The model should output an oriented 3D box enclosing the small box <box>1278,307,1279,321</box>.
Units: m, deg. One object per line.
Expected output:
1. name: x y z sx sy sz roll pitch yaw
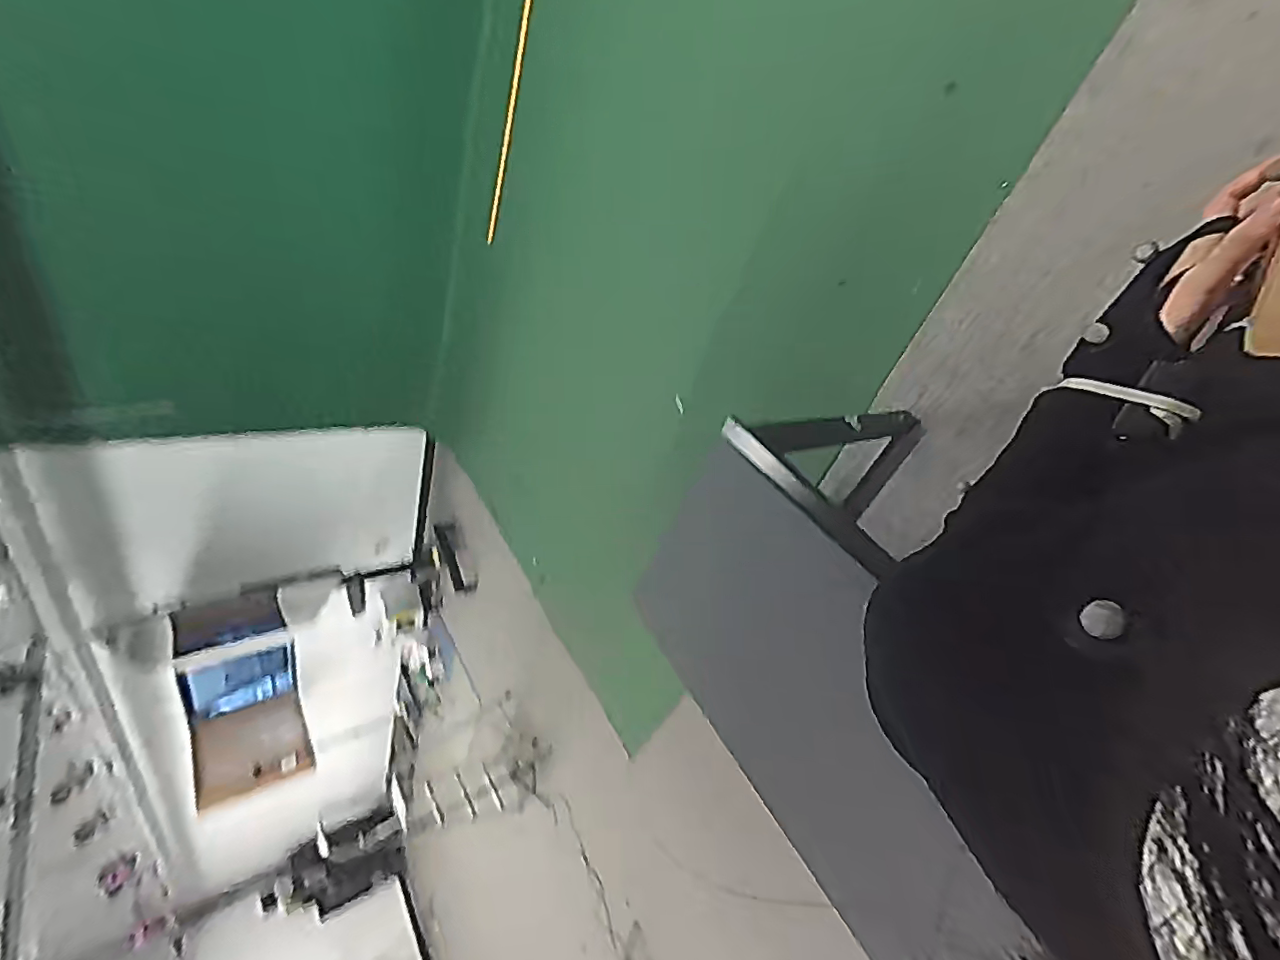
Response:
1. small box: 0.463 -0.181 0.263 0.168 0.176 0.179 18 132 43
